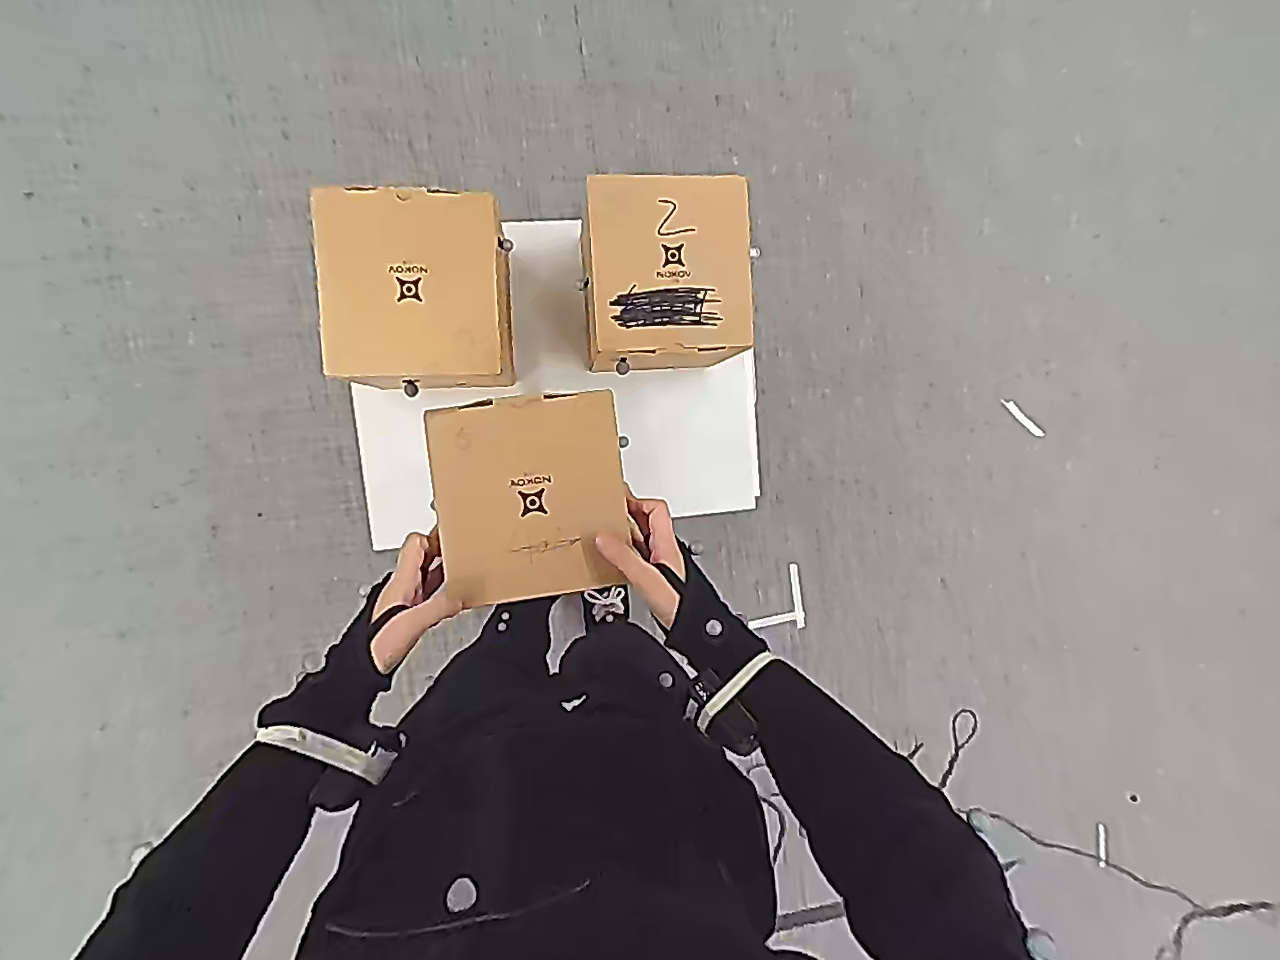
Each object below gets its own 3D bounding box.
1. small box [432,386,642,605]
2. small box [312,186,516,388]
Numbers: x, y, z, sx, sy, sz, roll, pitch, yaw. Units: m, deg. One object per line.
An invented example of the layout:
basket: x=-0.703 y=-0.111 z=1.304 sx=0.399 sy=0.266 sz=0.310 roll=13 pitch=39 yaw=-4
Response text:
small box: x=-0.097 y=0.012 z=0.549 sx=0.168 sy=0.176 sz=0.179 roll=-8 pitch=92 yaw=-6
small box: x=-0.228 y=-0.193 z=0.591 sx=0.168 sy=0.176 sz=0.179 roll=-3 pitch=95 yaw=-9
